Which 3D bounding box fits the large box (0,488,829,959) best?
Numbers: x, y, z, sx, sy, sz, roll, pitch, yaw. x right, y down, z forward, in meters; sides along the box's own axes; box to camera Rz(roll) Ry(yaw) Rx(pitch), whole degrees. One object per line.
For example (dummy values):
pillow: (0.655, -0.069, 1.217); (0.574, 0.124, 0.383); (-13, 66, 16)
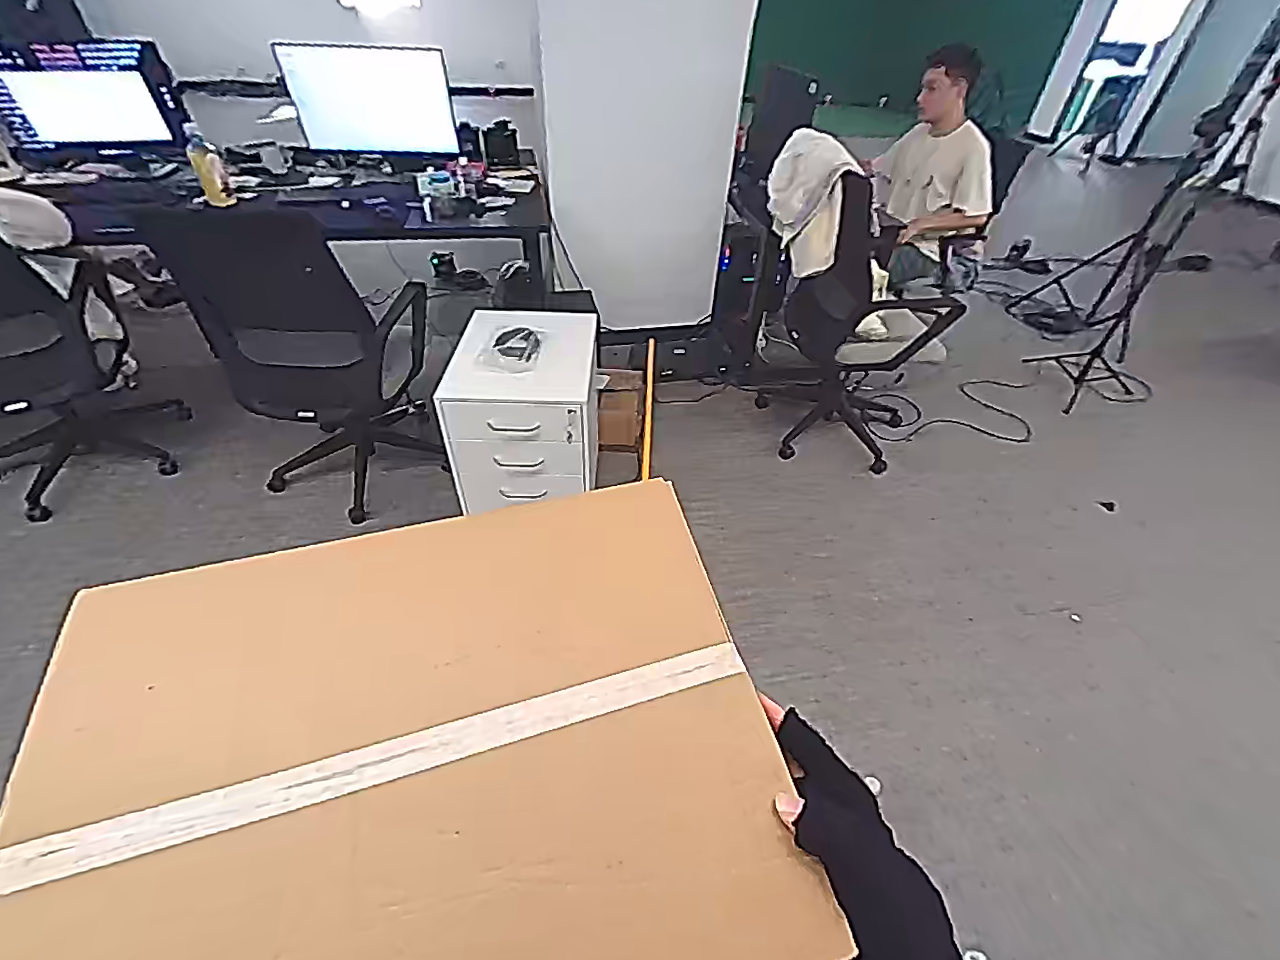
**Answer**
large box: (-0.139, 0.251, 0.441); (0.408, 0.320, 0.320); (-12, 55, -13)
